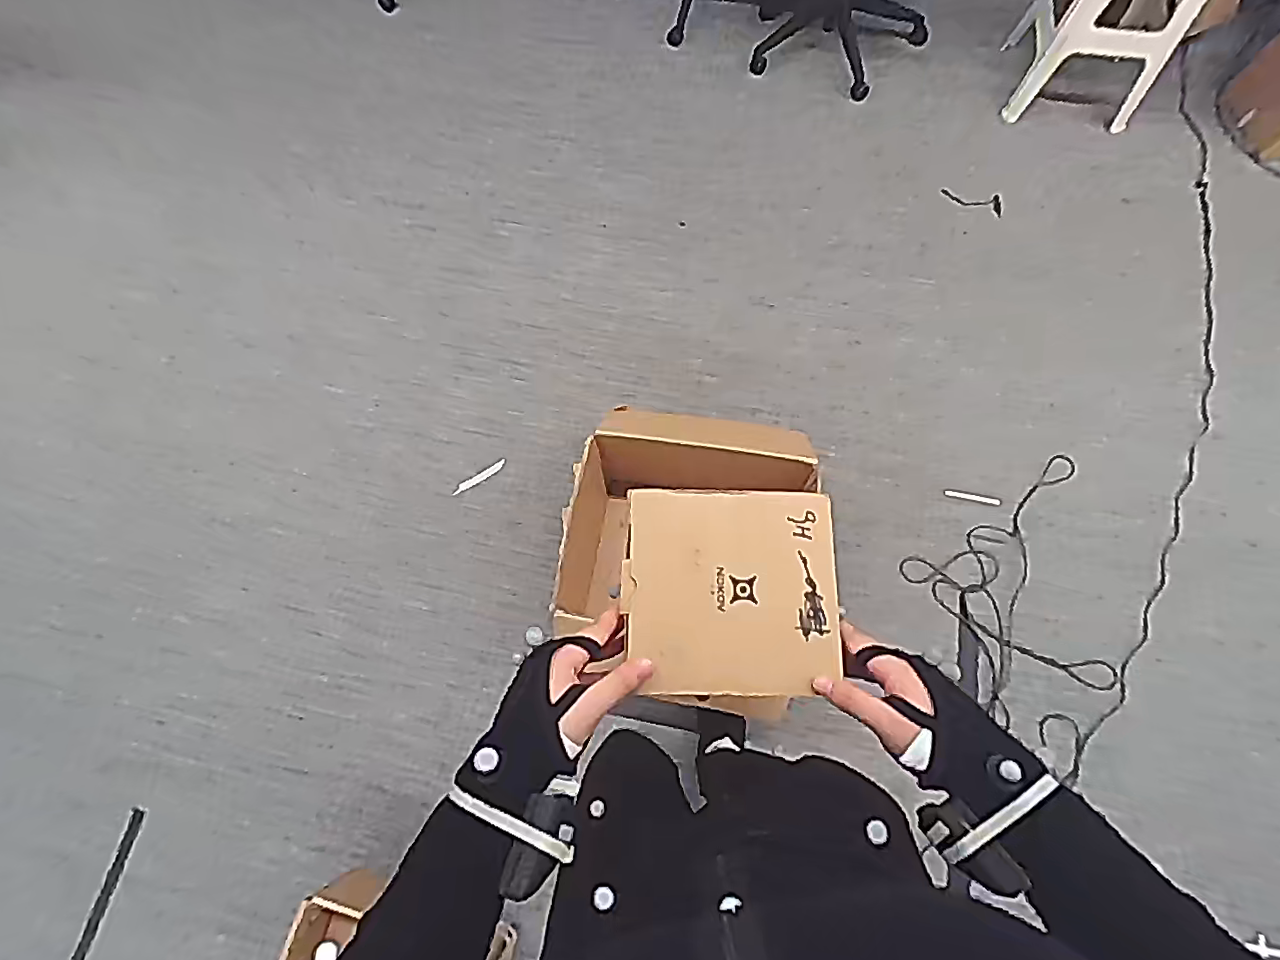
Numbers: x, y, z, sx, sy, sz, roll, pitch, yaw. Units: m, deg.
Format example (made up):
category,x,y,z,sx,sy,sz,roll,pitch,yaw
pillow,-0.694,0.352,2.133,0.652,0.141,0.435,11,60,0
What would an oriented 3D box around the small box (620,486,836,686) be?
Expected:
category,x,y,z,sx,sy,sz,roll,pitch,yaw
small box,0.071,0.107,0.530,0.179,0.176,0.168,1,75,-1
